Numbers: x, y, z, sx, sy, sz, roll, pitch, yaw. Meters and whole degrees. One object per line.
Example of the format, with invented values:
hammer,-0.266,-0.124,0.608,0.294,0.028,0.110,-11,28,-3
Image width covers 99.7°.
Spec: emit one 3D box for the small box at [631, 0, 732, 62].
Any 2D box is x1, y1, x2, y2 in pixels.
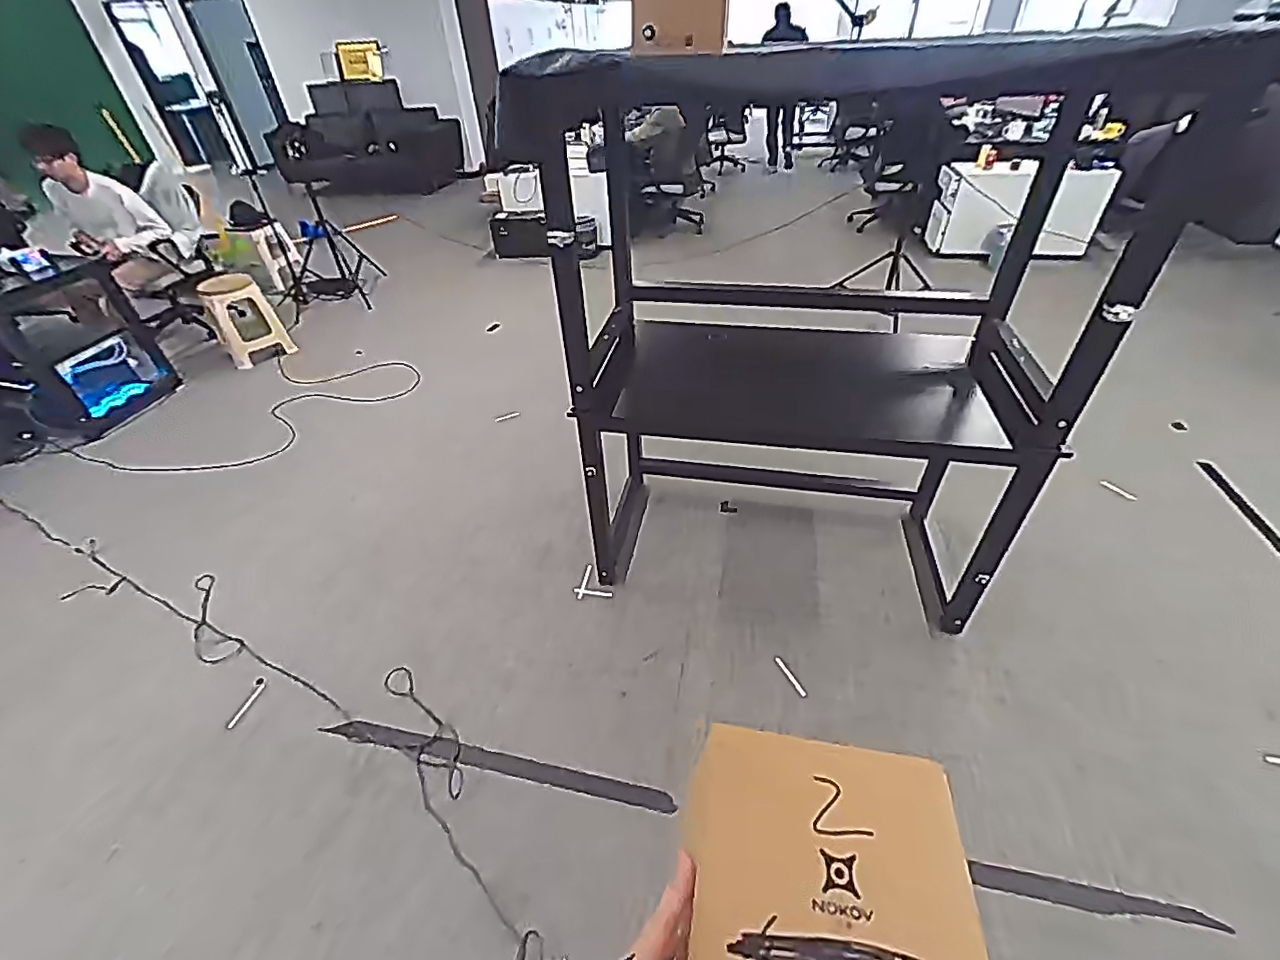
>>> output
small box,0.078,-0.860,0.966,0.168,0.176,0.179,5,38,8
